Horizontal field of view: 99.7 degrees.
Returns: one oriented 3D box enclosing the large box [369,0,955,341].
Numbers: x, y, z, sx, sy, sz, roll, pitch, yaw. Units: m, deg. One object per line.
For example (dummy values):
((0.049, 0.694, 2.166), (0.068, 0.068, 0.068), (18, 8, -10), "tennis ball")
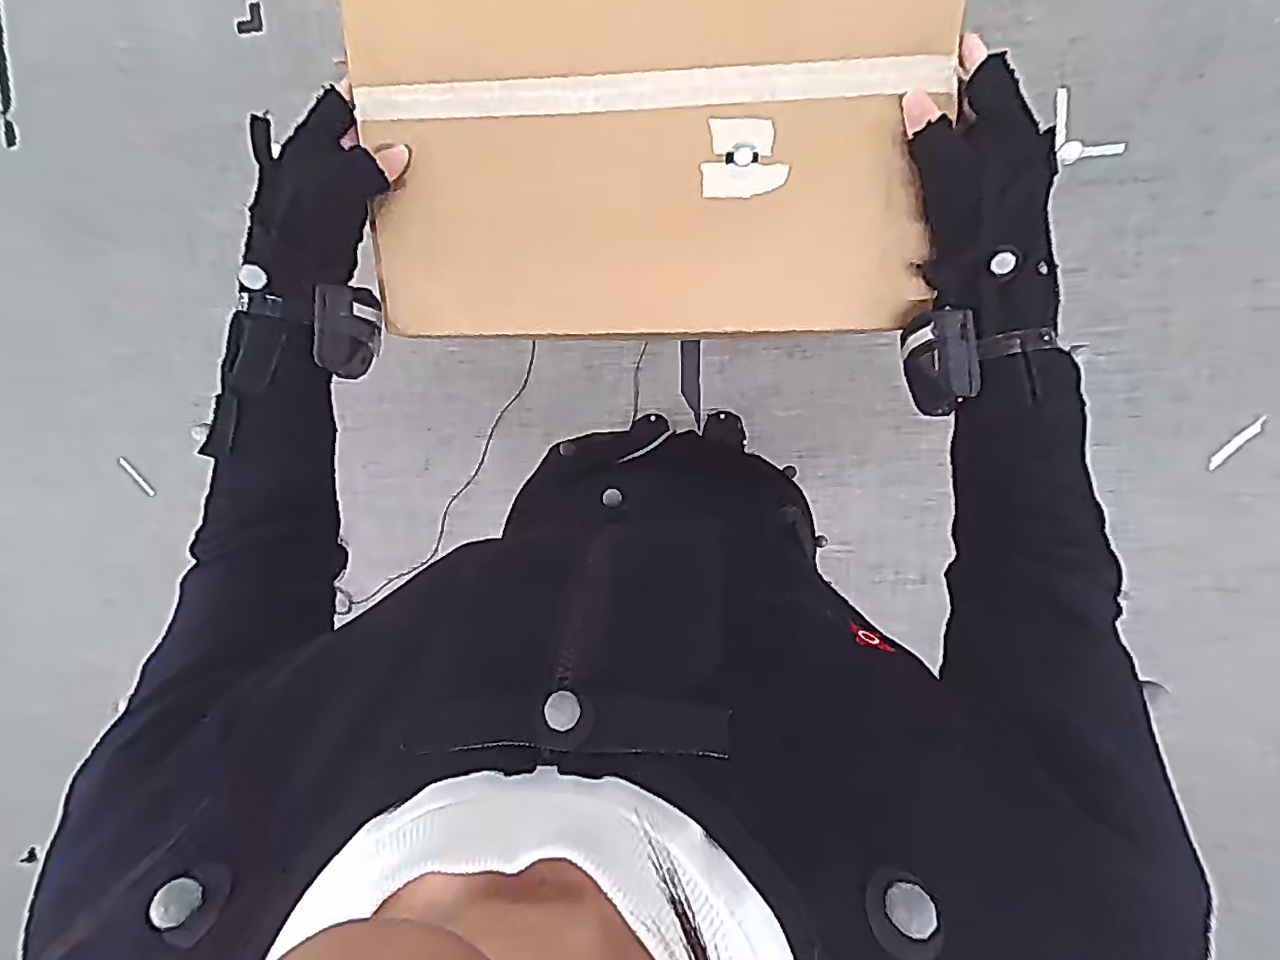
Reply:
((0.018, -0.303, 0.524), (0.408, 0.320, 0.320), (0, 104, 4), "large box")
